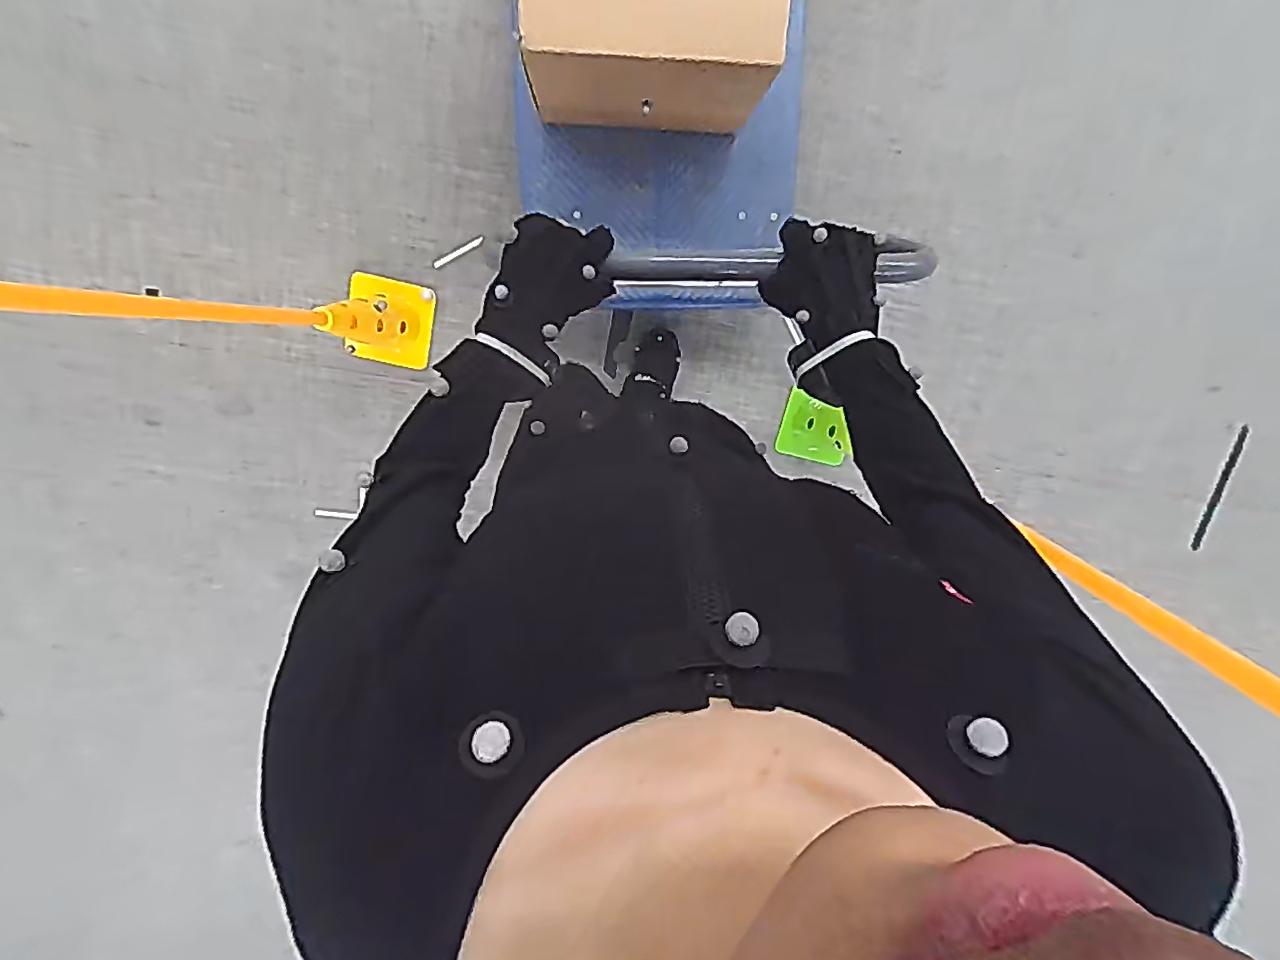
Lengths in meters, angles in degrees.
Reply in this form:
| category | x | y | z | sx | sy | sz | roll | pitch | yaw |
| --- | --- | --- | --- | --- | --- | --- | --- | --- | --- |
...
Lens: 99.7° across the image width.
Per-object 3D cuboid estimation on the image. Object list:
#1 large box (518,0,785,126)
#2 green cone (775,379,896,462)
| category | x | y | z | sx | sy | sz | roll | pitch | yaw |
| --- | --- | --- | --- | --- | --- | --- | --- | --- | --- |
| large box | 0.015 | -0.832 | 0.921 | 0.408 | 0.320 | 0.320 | 1 | 106 | -3 |
| green cone | 0.497 | -0.113 | 1.303 | 0.202 | 0.368 | 0.200 | 12 | 104 | -9 |
